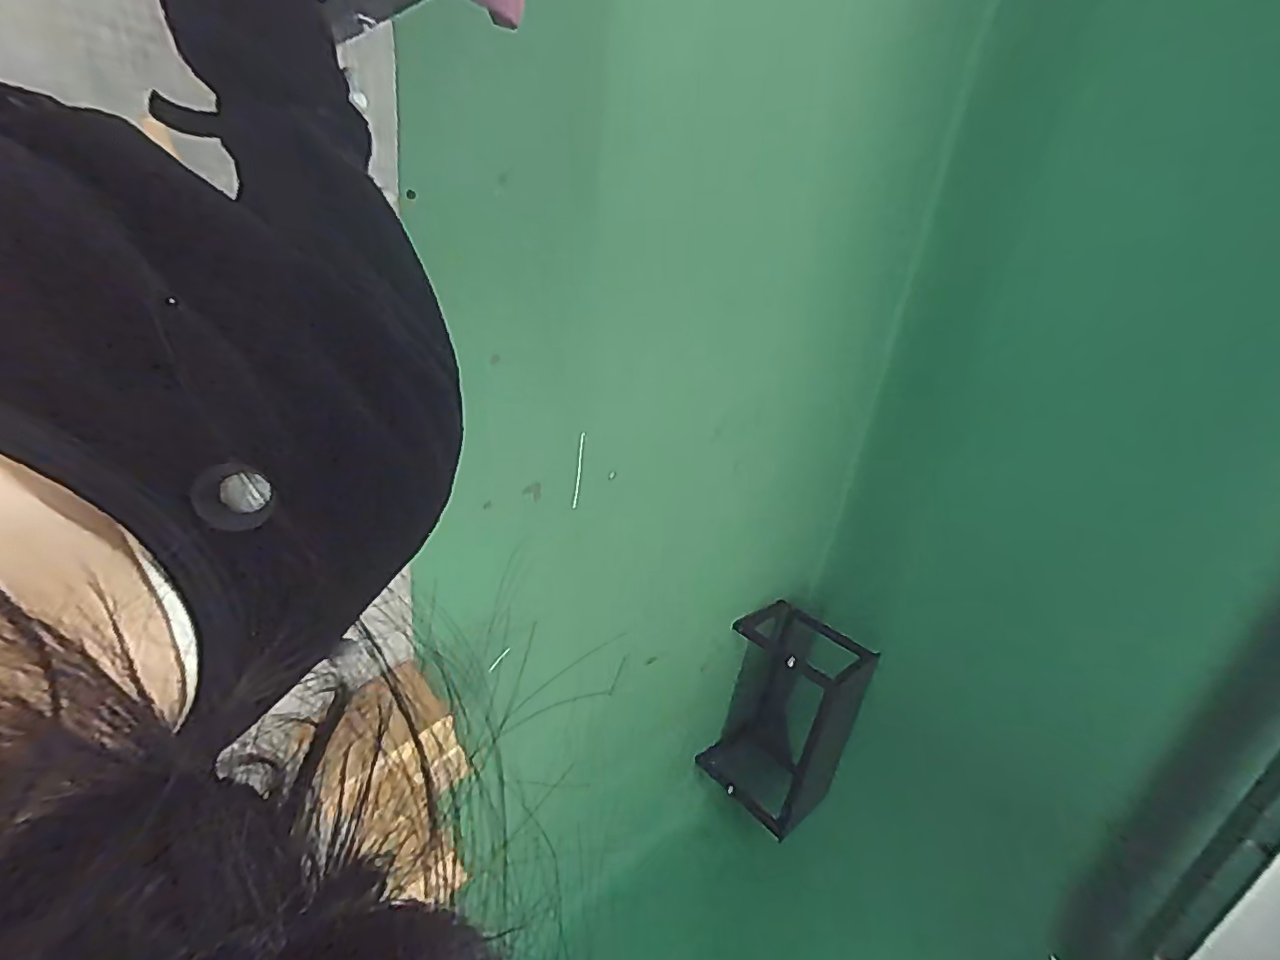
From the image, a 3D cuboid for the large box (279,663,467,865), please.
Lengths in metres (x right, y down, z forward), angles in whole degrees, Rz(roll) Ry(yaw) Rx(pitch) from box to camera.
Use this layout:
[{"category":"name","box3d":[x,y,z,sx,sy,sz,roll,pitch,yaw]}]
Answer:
[{"category":"large box","box3d":[-0.833,0.875,1.714,0.408,0.320,0.320,-28,130,-35]}]

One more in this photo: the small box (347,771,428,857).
[{"category":"small box","box3d":[-0.699,0.964,1.525,0.168,0.176,0.179,-26,128,-35]}]

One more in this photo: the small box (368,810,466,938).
[{"category":"small box","box3d":[-0.589,1.024,1.418,0.179,0.176,0.168,-28,128,-34]}]
